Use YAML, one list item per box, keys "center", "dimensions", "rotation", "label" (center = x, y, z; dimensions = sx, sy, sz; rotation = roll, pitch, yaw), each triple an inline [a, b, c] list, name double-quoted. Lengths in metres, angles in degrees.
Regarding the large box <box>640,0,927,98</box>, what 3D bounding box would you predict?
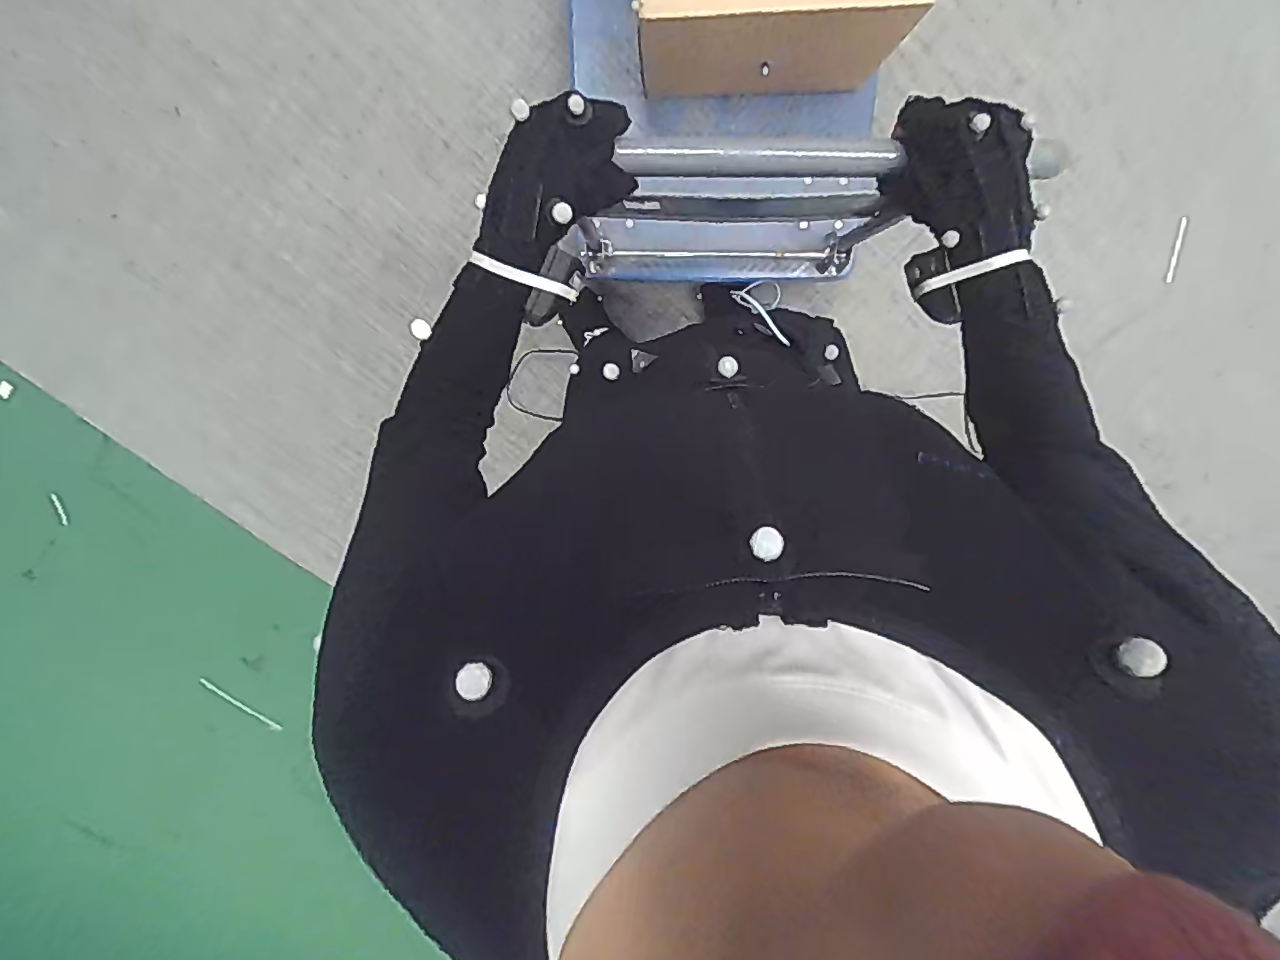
- center: [0.203, -0.841, 0.849]
  dimensions: [0.408, 0.320, 0.320]
  rotation: [-1, 108, 5]
  label: "large box"
